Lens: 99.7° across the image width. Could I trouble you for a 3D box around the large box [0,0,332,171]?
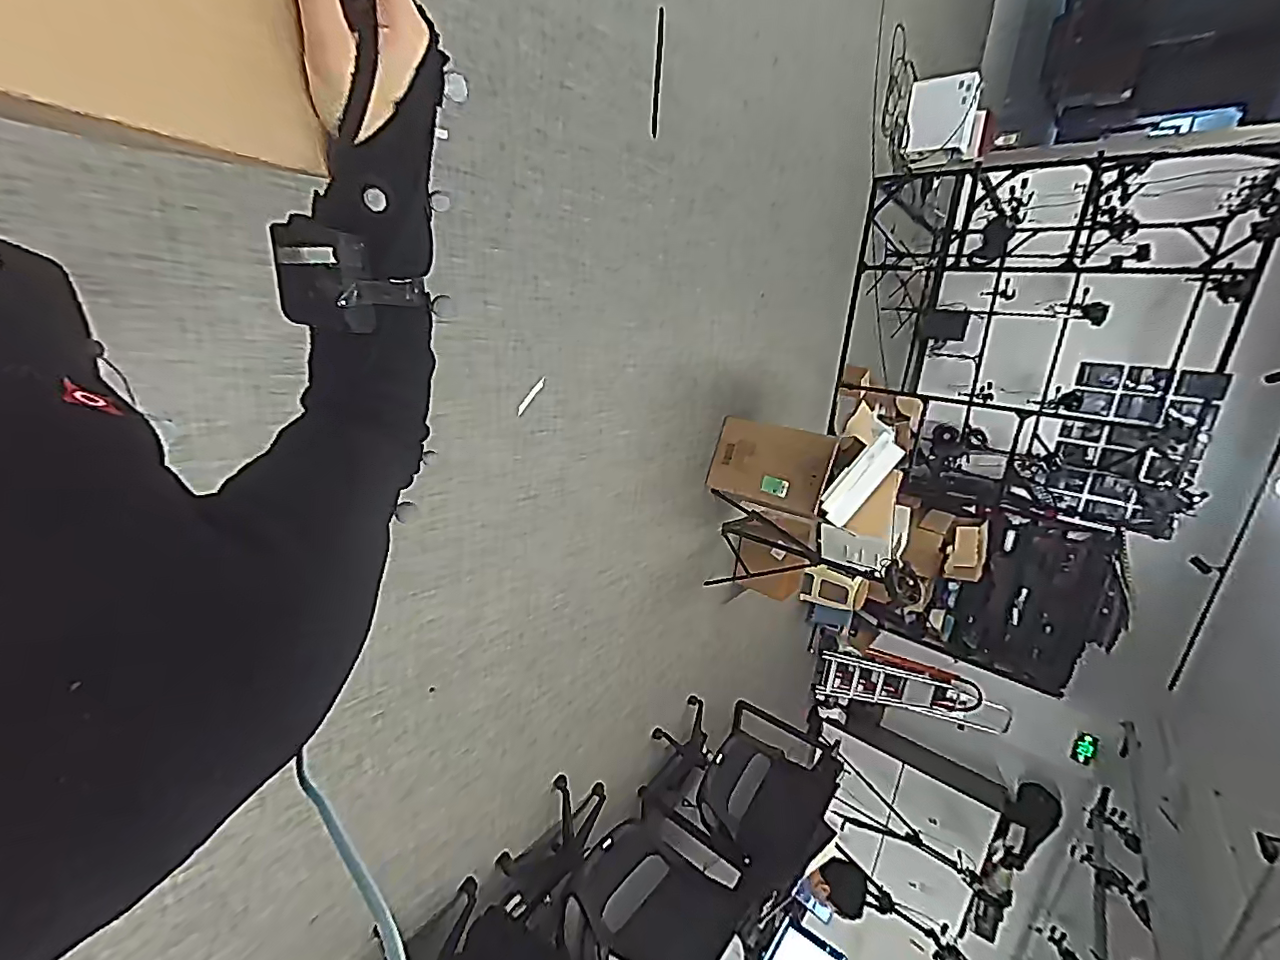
[{"bbox_3d":[-0.390,-0.336,0.184,0.408,0.320,0.320,-19,127,-54],"label":"large box"}]
